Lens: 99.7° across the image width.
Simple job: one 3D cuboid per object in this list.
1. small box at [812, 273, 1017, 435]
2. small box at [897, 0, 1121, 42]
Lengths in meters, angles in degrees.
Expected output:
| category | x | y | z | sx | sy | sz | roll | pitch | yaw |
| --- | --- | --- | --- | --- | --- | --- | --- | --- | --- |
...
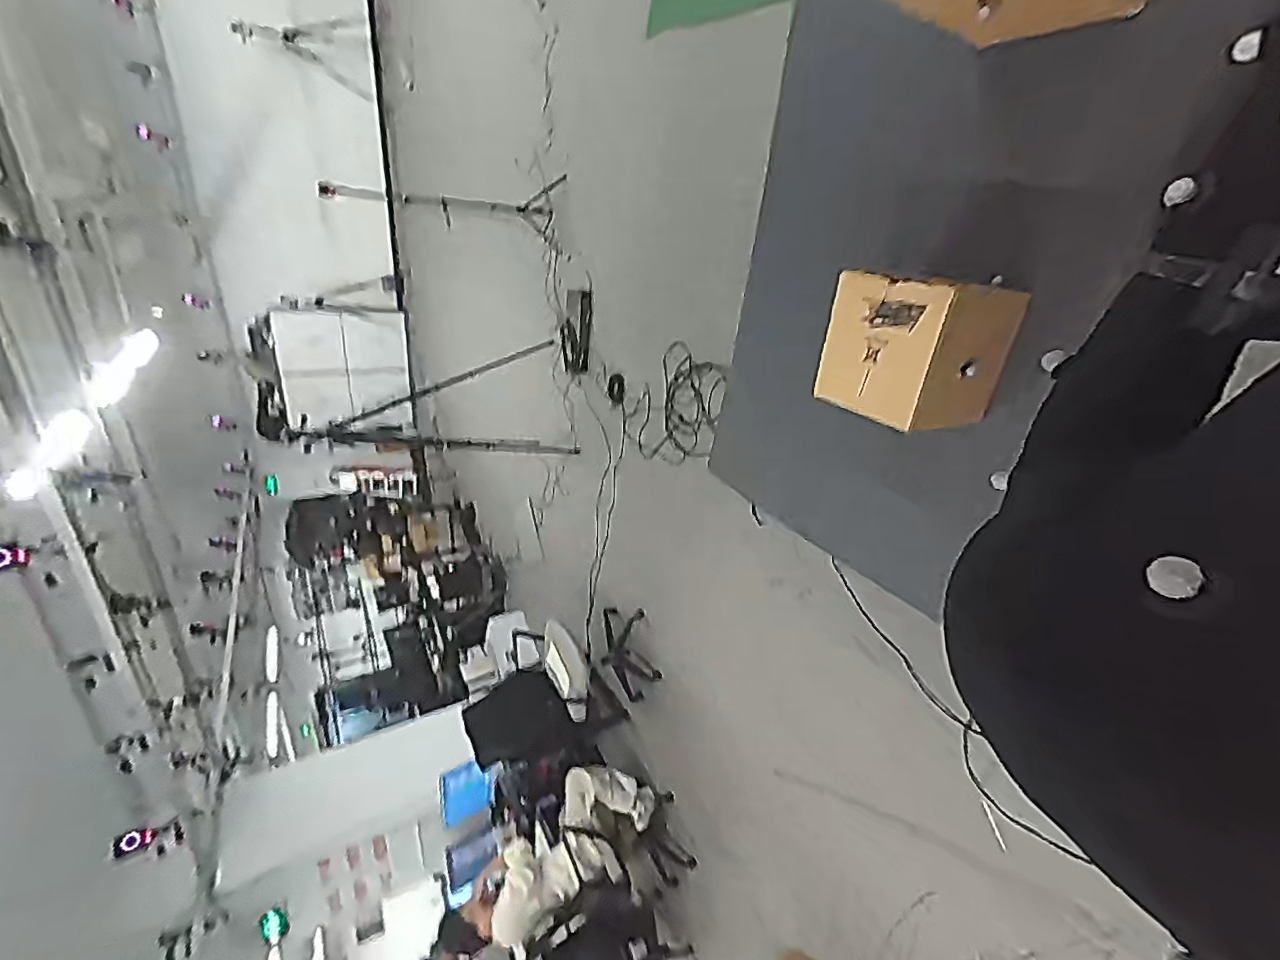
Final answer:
| category | x | y | z | sx | sy | sz | roll | pitch | yaw |
| --- | --- | --- | --- | --- | --- | --- | --- | --- | --- |
| small box | 0.372 | -0.179 | 0.740 | 0.168 | 0.176 | 0.179 | 39 | 132 | 49 |
| small box | 0.409 | -0.581 | 0.551 | 0.179 | 0.176 | 0.168 | 39 | 131 | 50 |
